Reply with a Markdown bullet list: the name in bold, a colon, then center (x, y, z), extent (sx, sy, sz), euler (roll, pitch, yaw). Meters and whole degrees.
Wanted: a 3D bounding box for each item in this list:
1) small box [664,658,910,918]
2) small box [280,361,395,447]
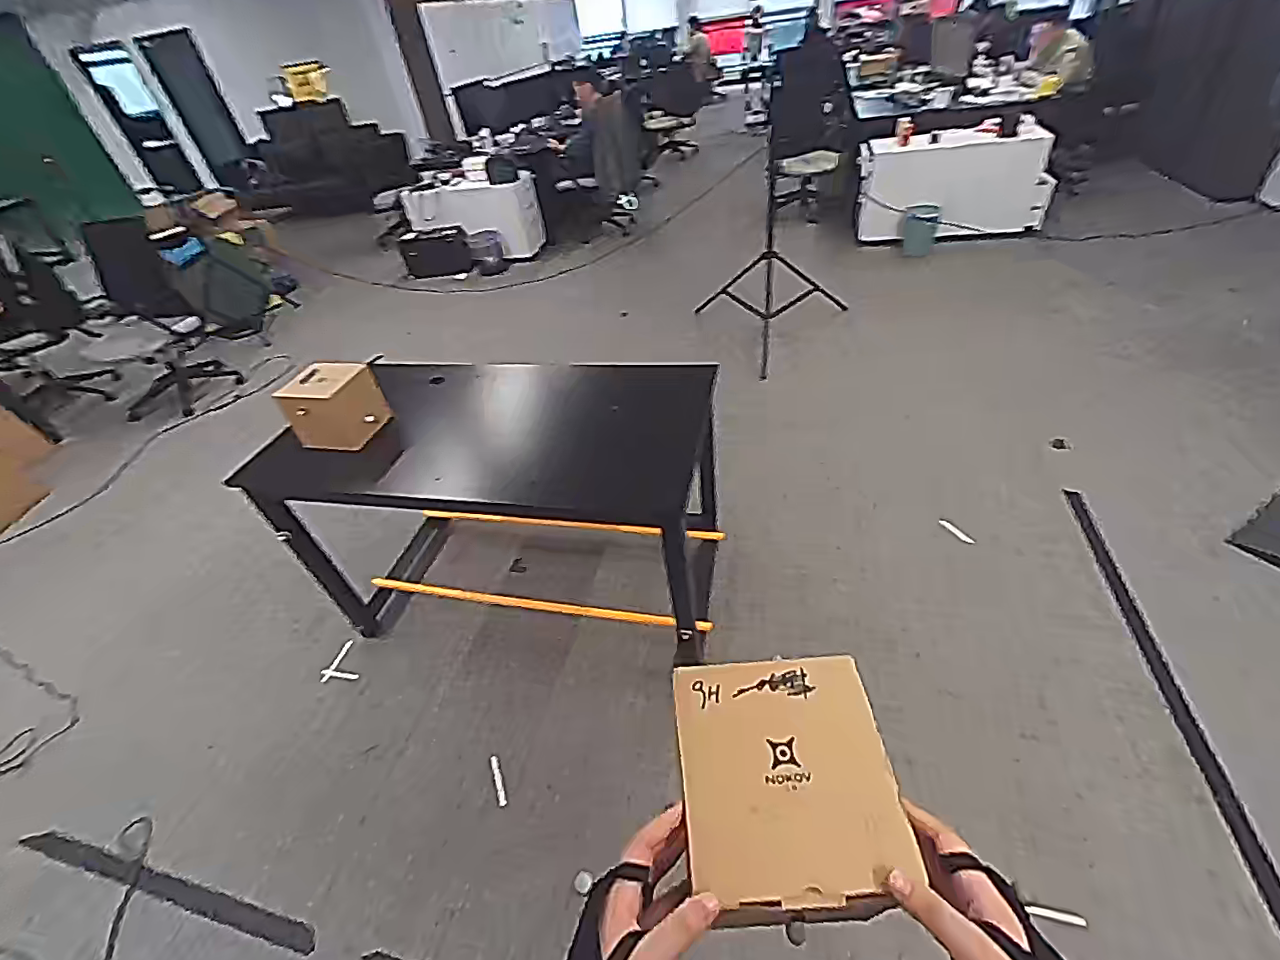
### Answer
- **small box**: center (0.112, 0.286, 0.496), extent (0.168, 0.176, 0.179), euler (-4, 48, 0)
- **small box**: center (-0.807, -0.205, 1.460), extent (0.179, 0.176, 0.168), euler (5, 43, 14)
